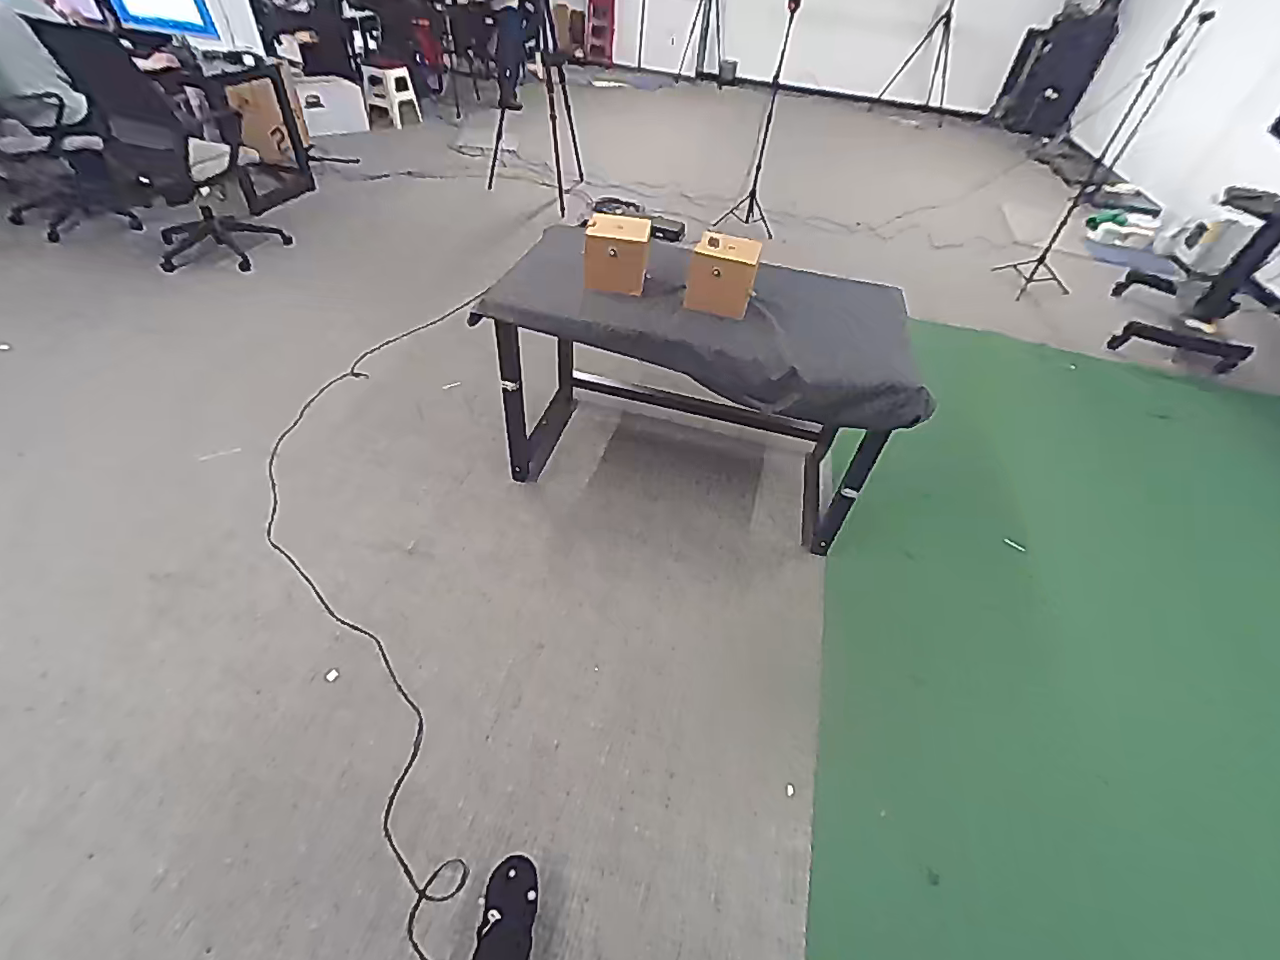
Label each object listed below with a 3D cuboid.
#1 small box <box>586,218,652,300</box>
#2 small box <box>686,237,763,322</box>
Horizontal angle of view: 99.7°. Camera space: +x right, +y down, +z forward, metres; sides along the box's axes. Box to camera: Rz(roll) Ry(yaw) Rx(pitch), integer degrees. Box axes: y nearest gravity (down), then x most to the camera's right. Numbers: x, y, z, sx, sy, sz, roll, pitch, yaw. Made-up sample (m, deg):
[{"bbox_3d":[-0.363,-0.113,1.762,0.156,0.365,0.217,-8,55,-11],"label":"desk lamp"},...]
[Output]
[{"bbox_3d":[-0.064,-0.652,1.601,0.179,0.176,0.168,8,46,-1],"label":"small box"},{"bbox_3d":[0.241,-0.577,1.561,0.179,0.176,0.168,16,45,8],"label":"small box"}]
